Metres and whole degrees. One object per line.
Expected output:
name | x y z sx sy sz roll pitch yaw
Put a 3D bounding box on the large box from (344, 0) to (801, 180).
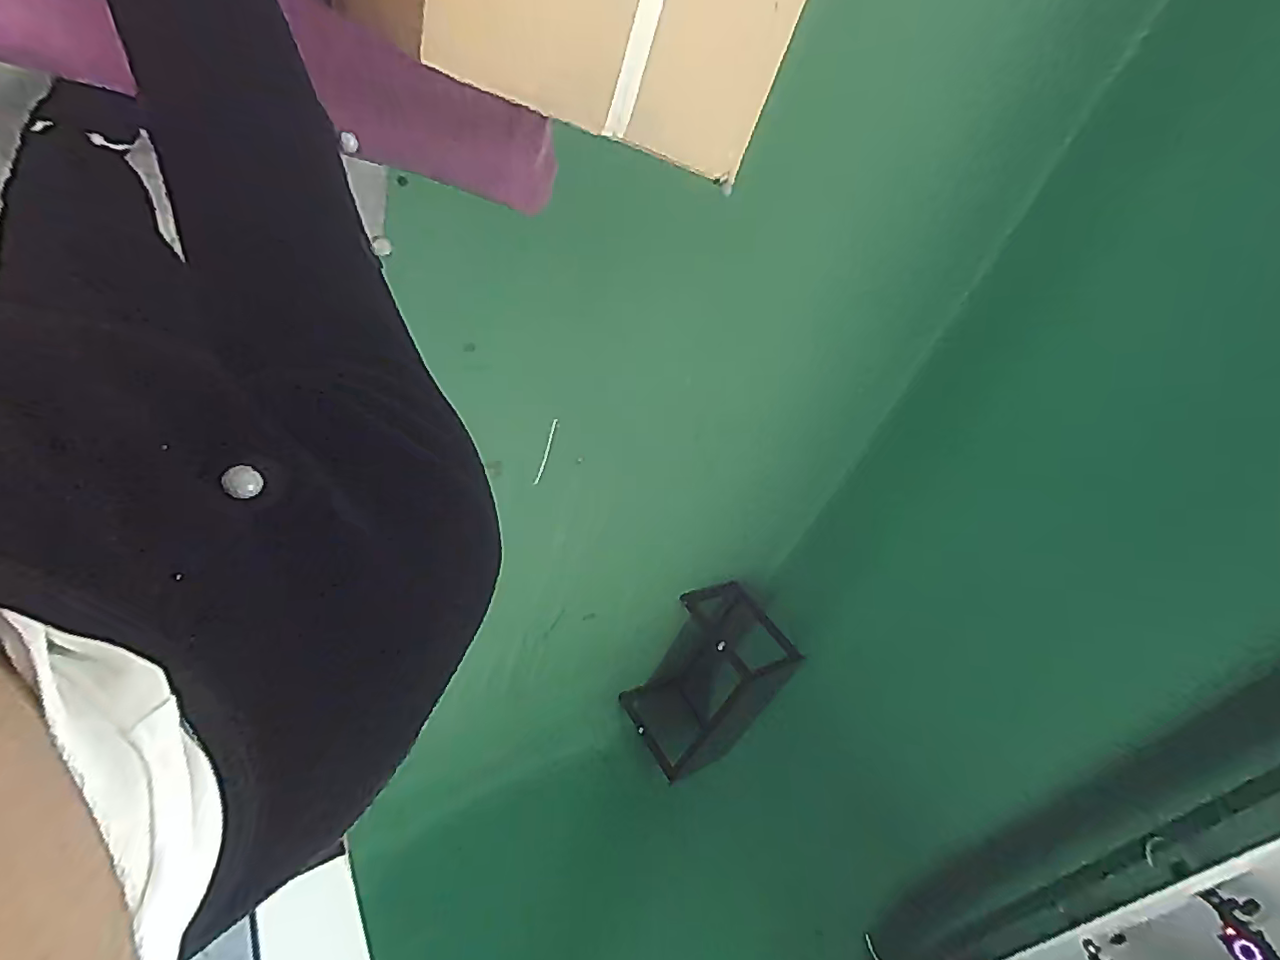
large box | -0.037 -0.544 0.446 0.320 0.320 0.408 -5 133 -38
